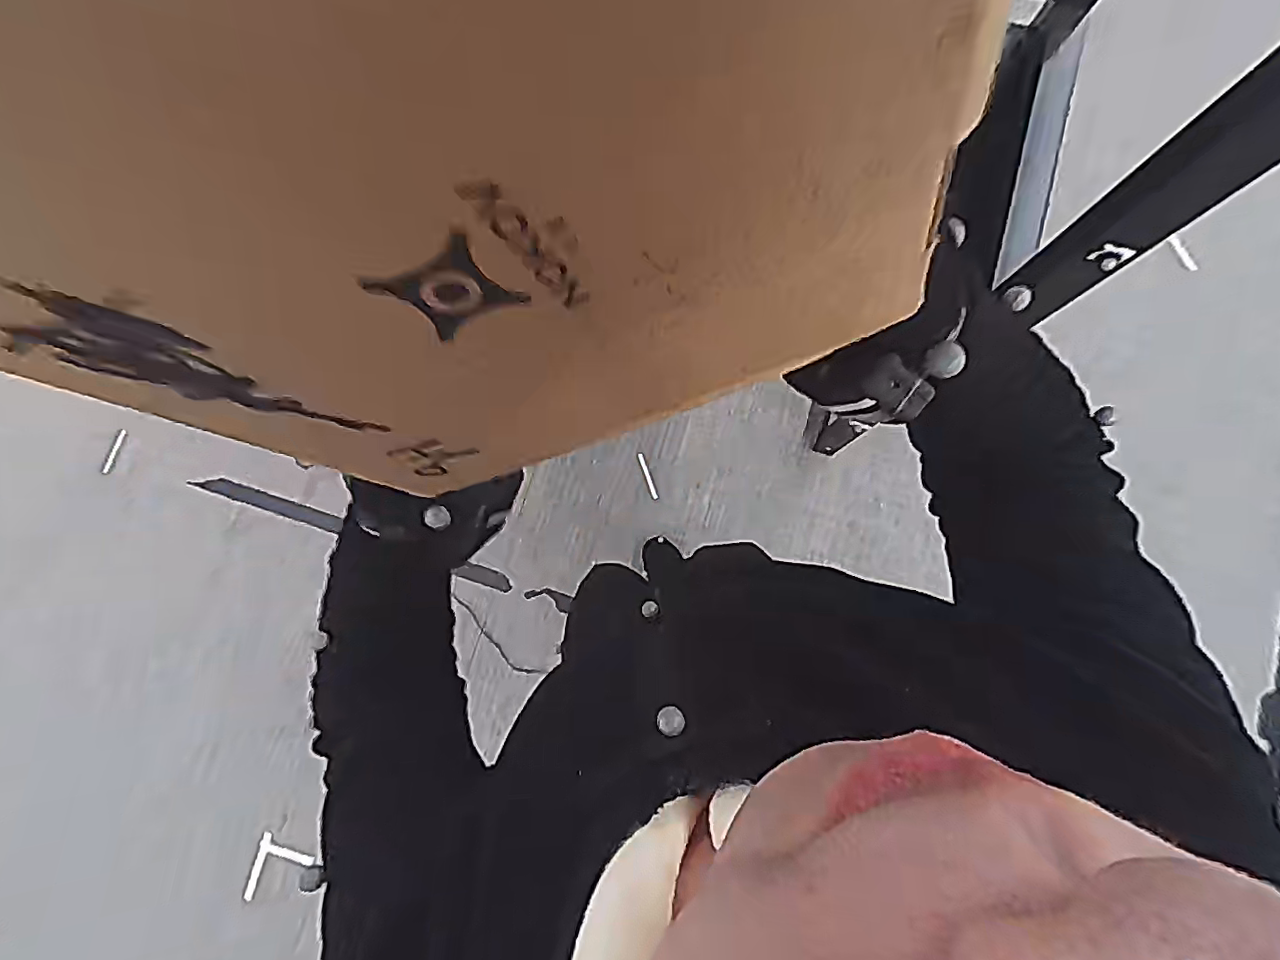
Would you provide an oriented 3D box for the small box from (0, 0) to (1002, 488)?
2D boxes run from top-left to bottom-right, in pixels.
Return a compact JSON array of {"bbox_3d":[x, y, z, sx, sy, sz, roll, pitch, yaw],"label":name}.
[{"bbox_3d":[-0.047,-0.119,0.118,0.179,0.168,0.176,-19,69,15],"label":"small box"}]

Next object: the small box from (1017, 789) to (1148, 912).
[{"bbox_3d":[1.032,0.858,1.274,0.179,0.176,0.168,11,83,4],"label":"small box"}]
